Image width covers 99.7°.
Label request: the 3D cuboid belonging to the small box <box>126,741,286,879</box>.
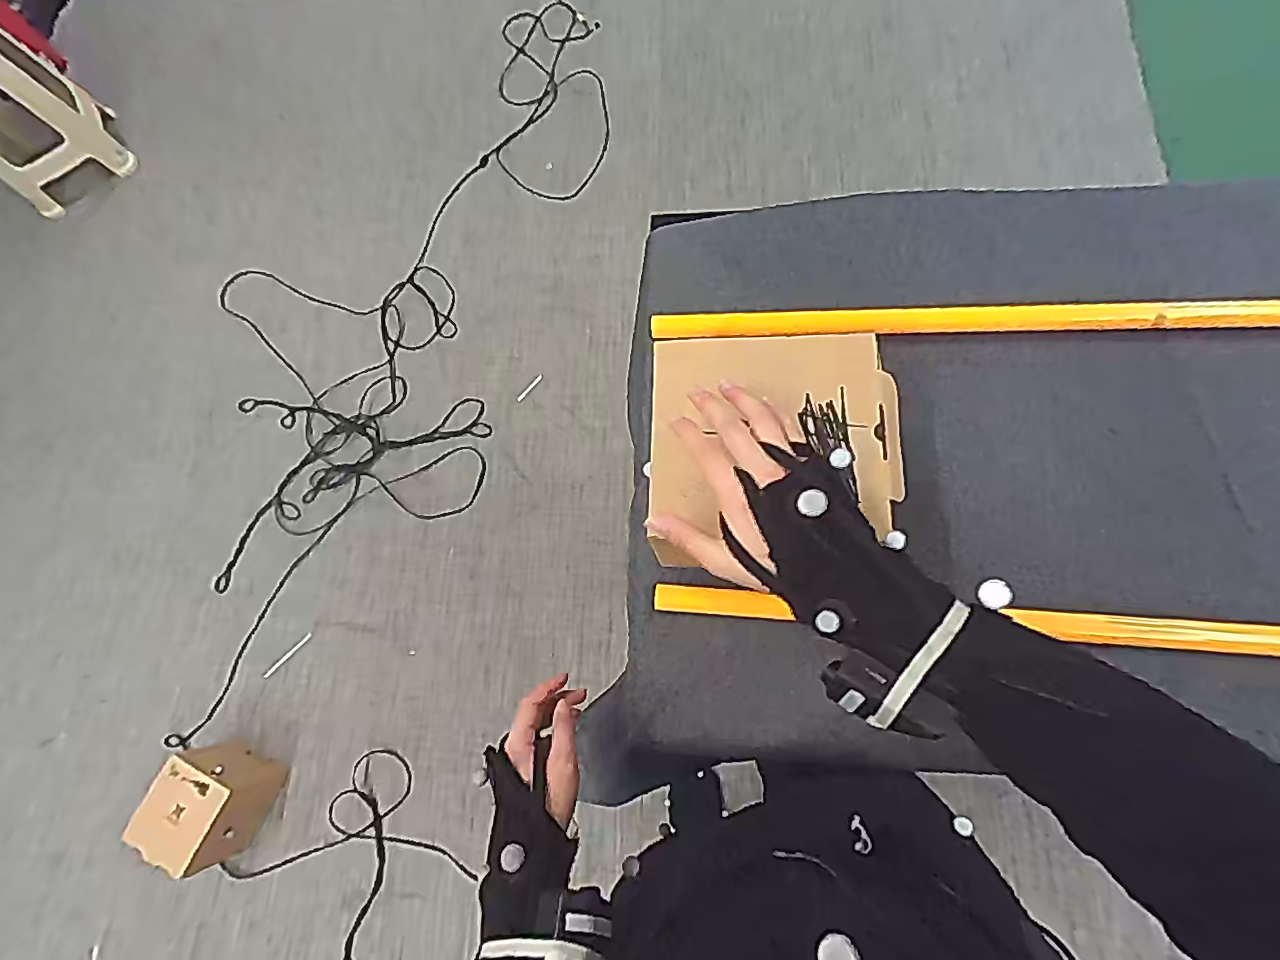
[{"bbox_3d":[-0.915,0.692,1.159,0.168,0.176,0.179,22,77,13],"label":"small box"}]

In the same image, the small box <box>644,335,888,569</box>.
[{"bbox_3d":[0.102,-0.014,0.486,0.179,0.176,0.168,1,73,8],"label":"small box"}]
